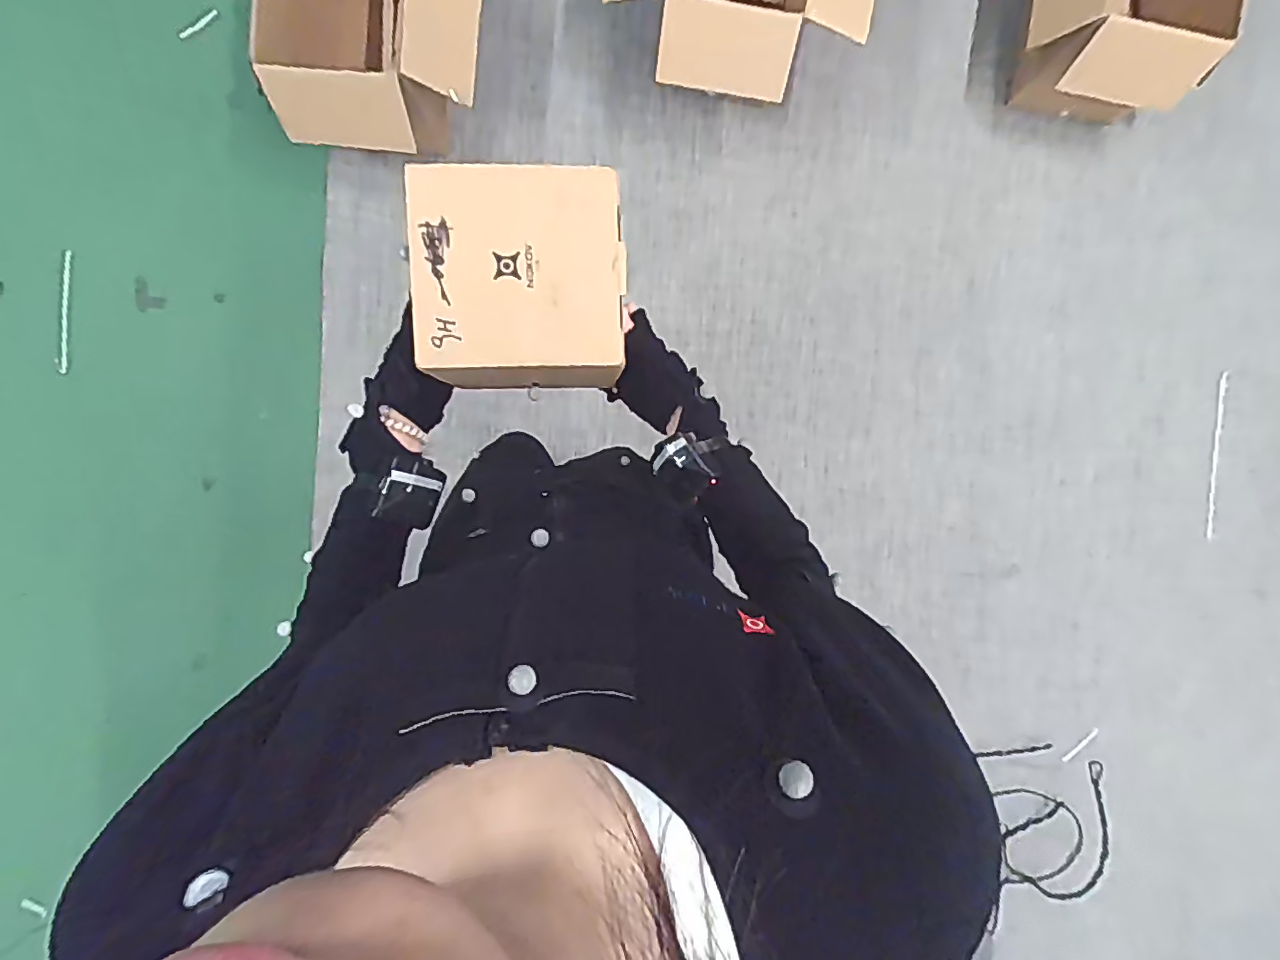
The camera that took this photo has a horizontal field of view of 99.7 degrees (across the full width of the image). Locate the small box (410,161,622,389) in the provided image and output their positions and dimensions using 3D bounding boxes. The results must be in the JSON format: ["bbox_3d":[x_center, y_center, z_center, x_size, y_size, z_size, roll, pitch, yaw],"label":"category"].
[{"bbox_3d":[-0.113,-0.184,0.536,0.179,0.176,0.168,-1,93,-7],"label":"small box"}]
